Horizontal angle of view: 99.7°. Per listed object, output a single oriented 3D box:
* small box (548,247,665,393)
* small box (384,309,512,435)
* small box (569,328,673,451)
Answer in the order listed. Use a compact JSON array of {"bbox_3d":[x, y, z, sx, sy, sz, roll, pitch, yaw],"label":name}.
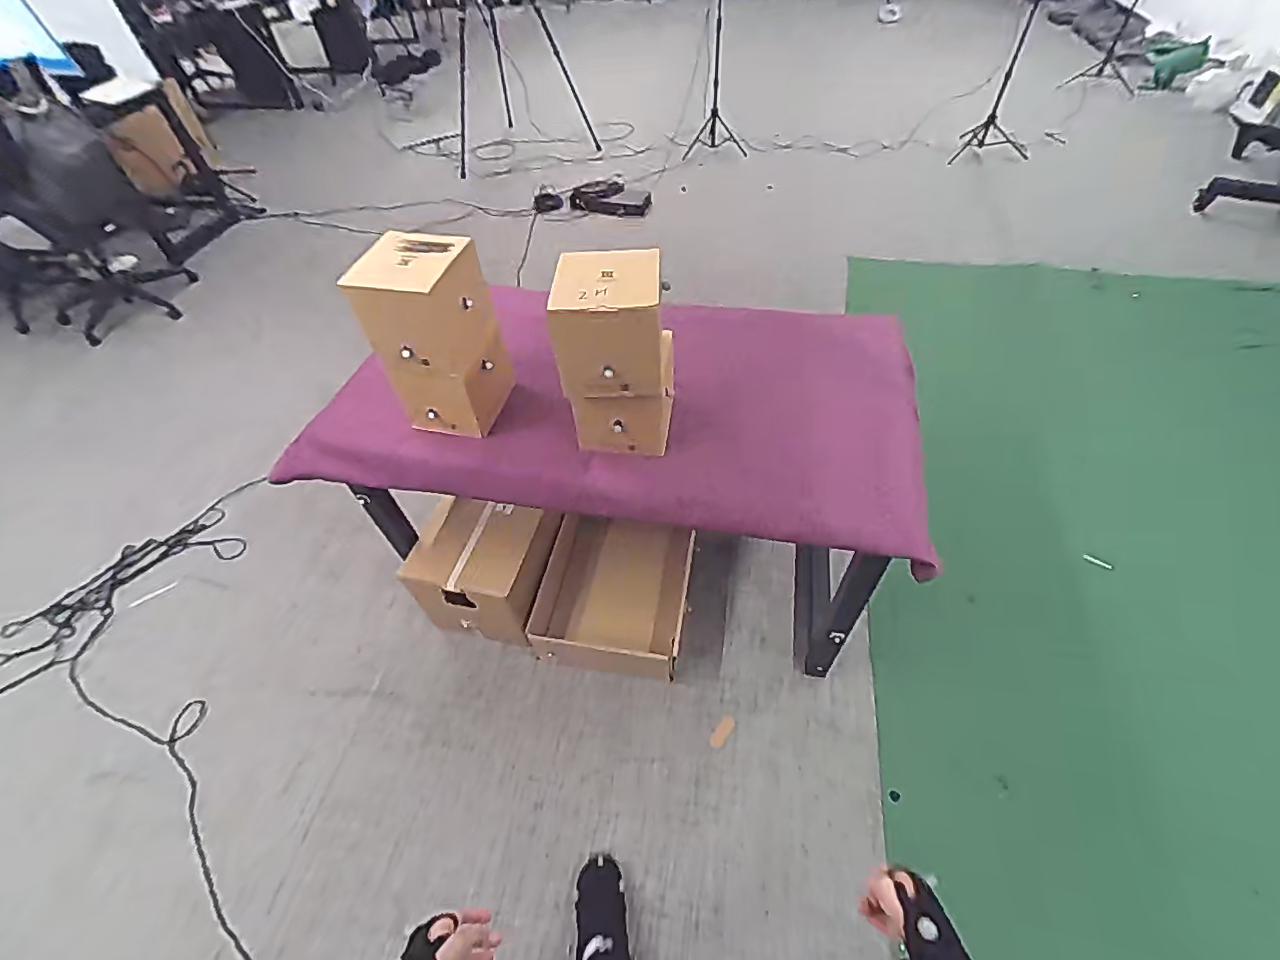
[{"bbox_3d":[-0.045,-0.263,0.893,0.168,0.176,0.179,-1,50,4],"label":"small box"},{"bbox_3d":[-0.373,-0.219,1.095,0.168,0.176,0.179,9,52,11],"label":"small box"},{"bbox_3d":[-0.026,-0.173,1.033,0.168,0.176,0.179,5,50,7],"label":"small box"}]
